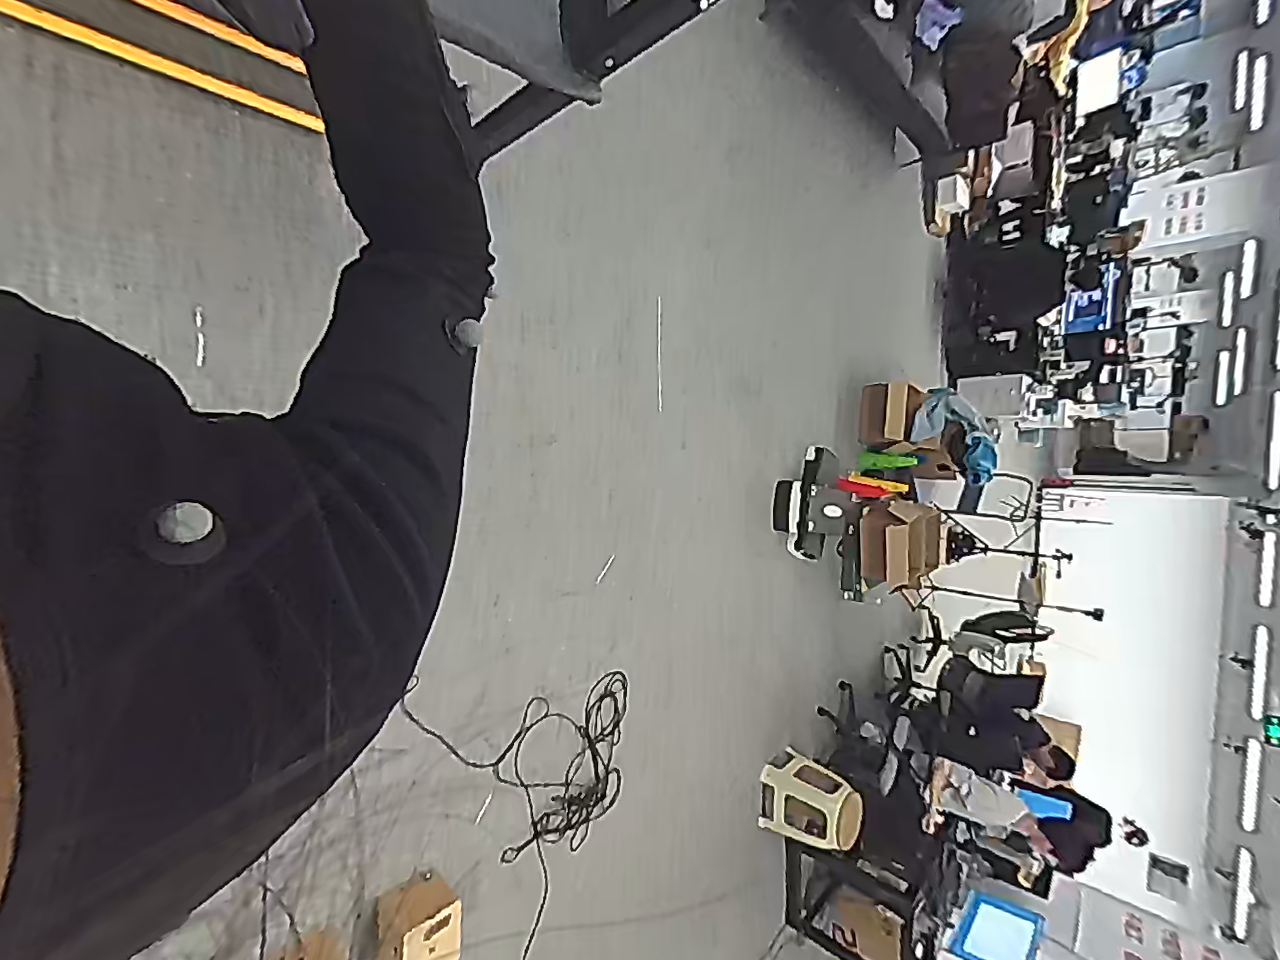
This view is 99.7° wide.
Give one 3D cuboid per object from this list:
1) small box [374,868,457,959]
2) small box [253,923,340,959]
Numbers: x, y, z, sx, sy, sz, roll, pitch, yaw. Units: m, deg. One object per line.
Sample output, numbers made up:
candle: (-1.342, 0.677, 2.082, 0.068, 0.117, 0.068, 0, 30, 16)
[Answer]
small box: (-0.633, 1.239, 1.520, 0.168, 0.176, 0.179, 0, 93, -47)
small box: (-0.831, 1.244, 1.307, 0.168, 0.176, 0.179, -7, 97, -47)
